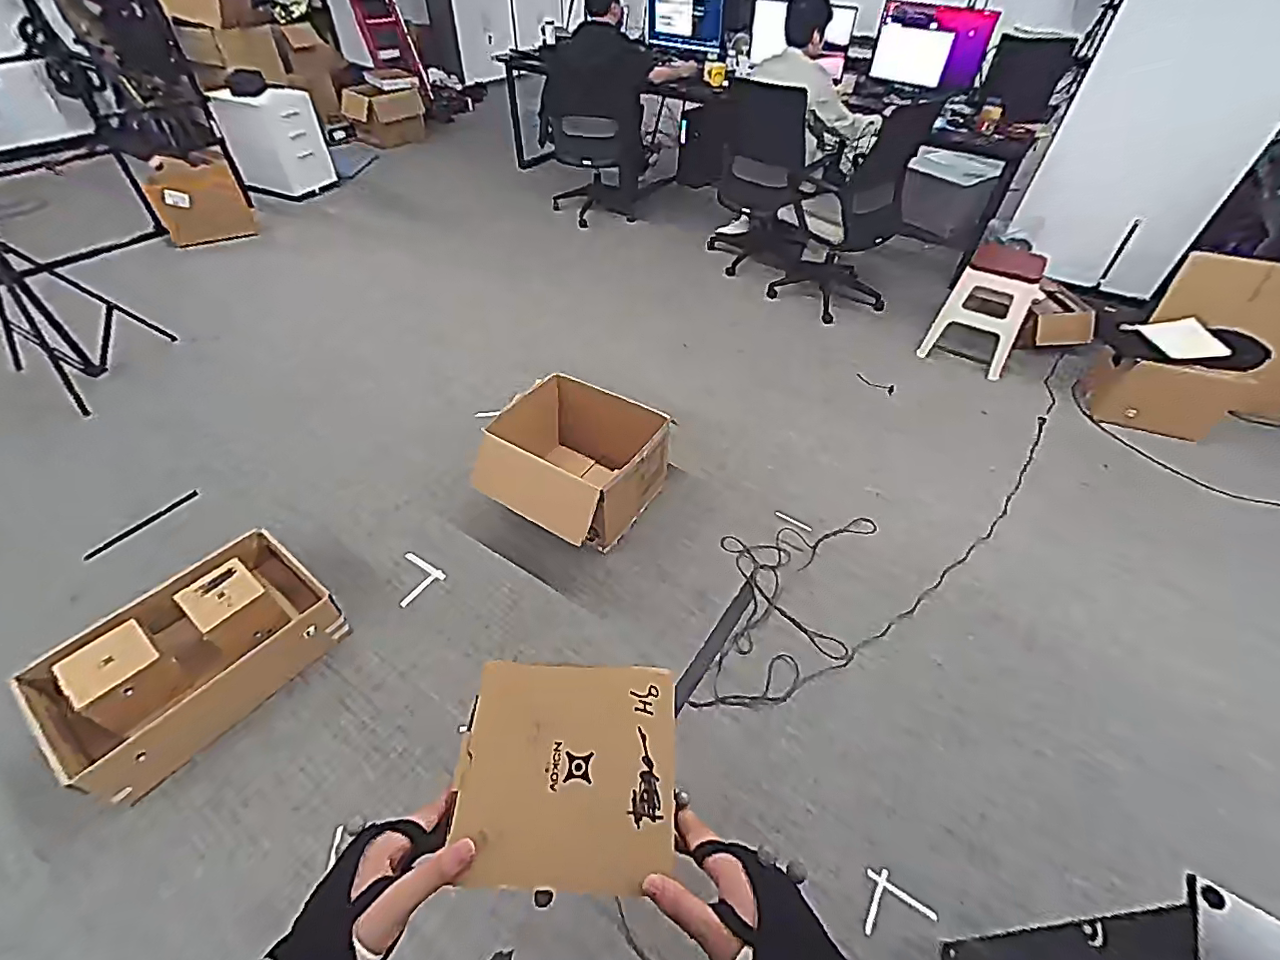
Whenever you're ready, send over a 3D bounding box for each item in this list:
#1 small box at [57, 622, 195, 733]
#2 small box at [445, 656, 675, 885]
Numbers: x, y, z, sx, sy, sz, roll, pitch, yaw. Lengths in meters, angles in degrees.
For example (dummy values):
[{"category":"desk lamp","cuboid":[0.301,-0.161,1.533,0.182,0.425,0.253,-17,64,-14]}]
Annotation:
[{"category":"small box","cuboid":[-1.309,0.509,1.387,0.168,0.176,0.179,32,51,23]},{"category":"small box","cuboid":[-0.058,0.279,0.515,0.179,0.176,0.168,2,54,1]}]
